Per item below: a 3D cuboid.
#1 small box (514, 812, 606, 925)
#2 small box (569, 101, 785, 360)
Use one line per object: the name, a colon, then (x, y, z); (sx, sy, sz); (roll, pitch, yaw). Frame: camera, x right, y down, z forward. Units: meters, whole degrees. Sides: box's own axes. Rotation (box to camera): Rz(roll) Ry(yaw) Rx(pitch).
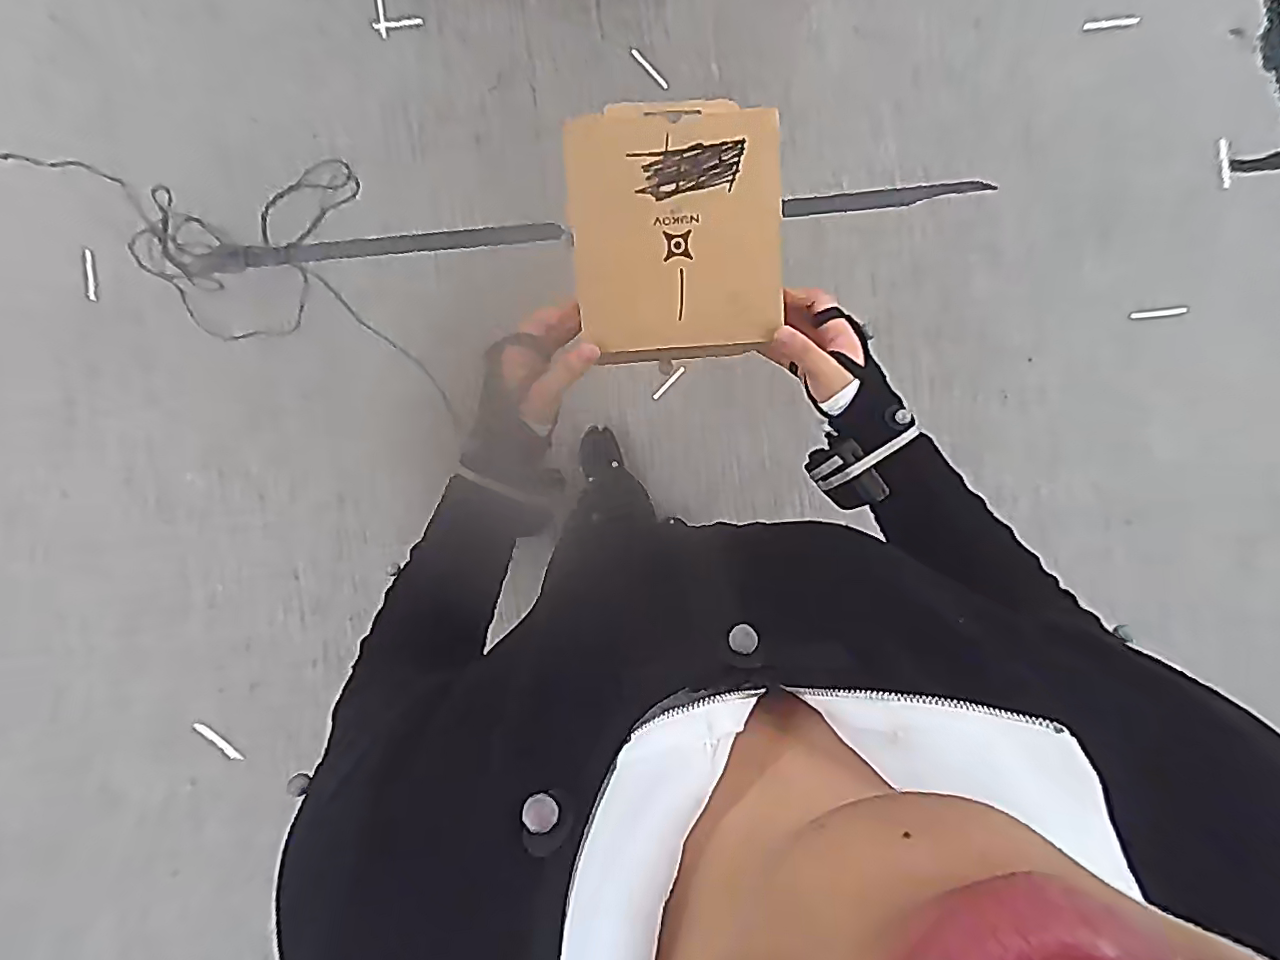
small box: (-0.171, 0.867, 1.220); (0.179, 0.176, 0.168); (-7, 92, 0)
small box: (0.027, -0.211, 0.501); (0.168, 0.176, 0.179); (-5, 99, -1)
